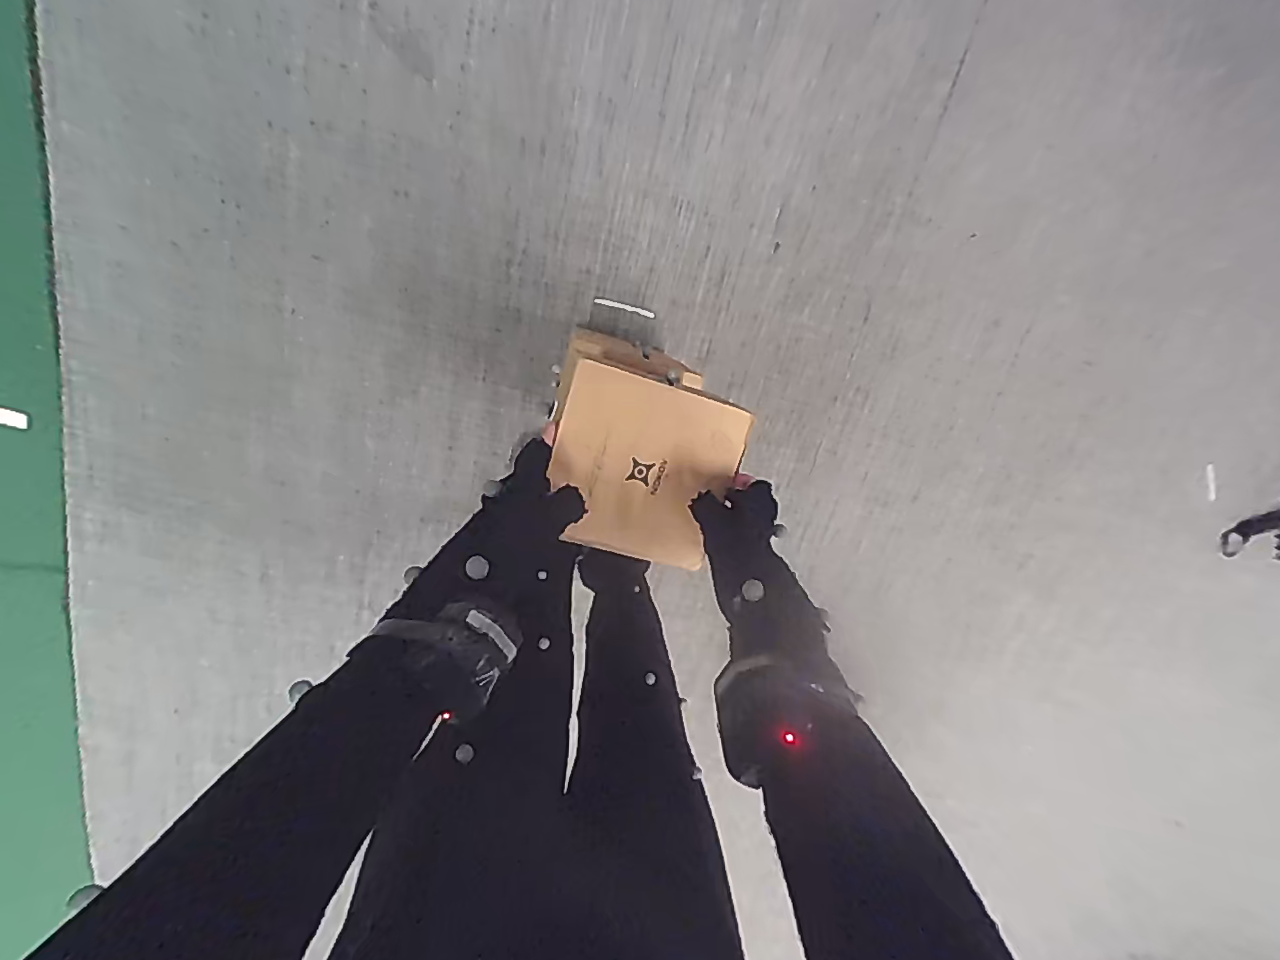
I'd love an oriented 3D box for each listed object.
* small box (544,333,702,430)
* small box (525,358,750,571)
[{"bbox_3d":[-0.035,-0.104,0.776,0.179,0.176,0.168,15,108,-13],"label":"small box"},{"bbox_3d":[-0.014,-0.026,0.578,0.179,0.176,0.168,15,103,-13],"label":"small box"}]
